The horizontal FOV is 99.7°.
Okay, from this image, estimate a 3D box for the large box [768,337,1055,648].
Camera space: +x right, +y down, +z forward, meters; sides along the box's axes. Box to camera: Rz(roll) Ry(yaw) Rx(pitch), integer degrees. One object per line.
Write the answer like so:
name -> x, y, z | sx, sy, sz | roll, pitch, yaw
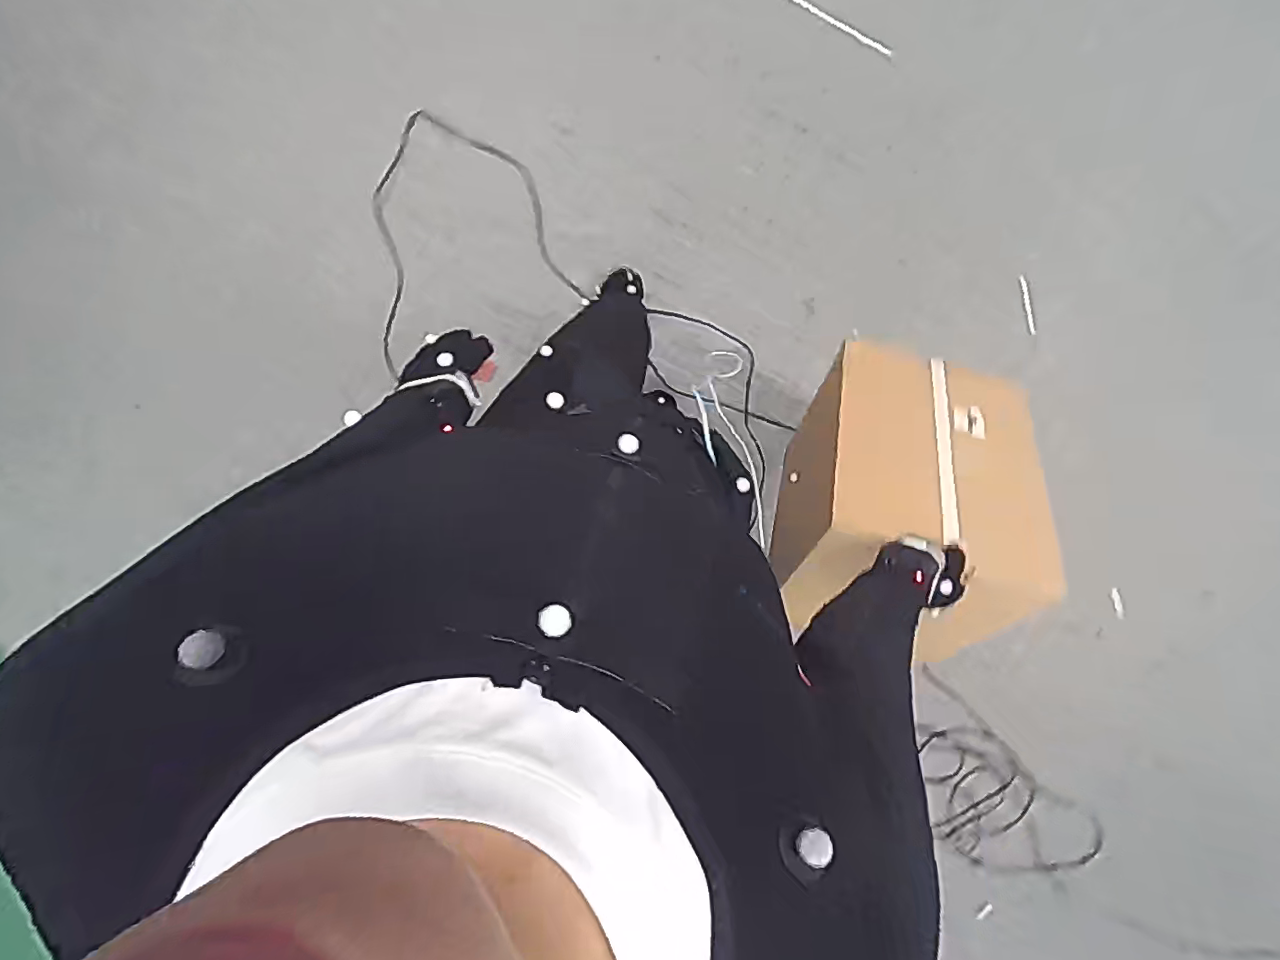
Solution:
large box -> 0.435, 0.025, 0.955 | 0.320, 0.408, 0.320 | 17, 144, 3
